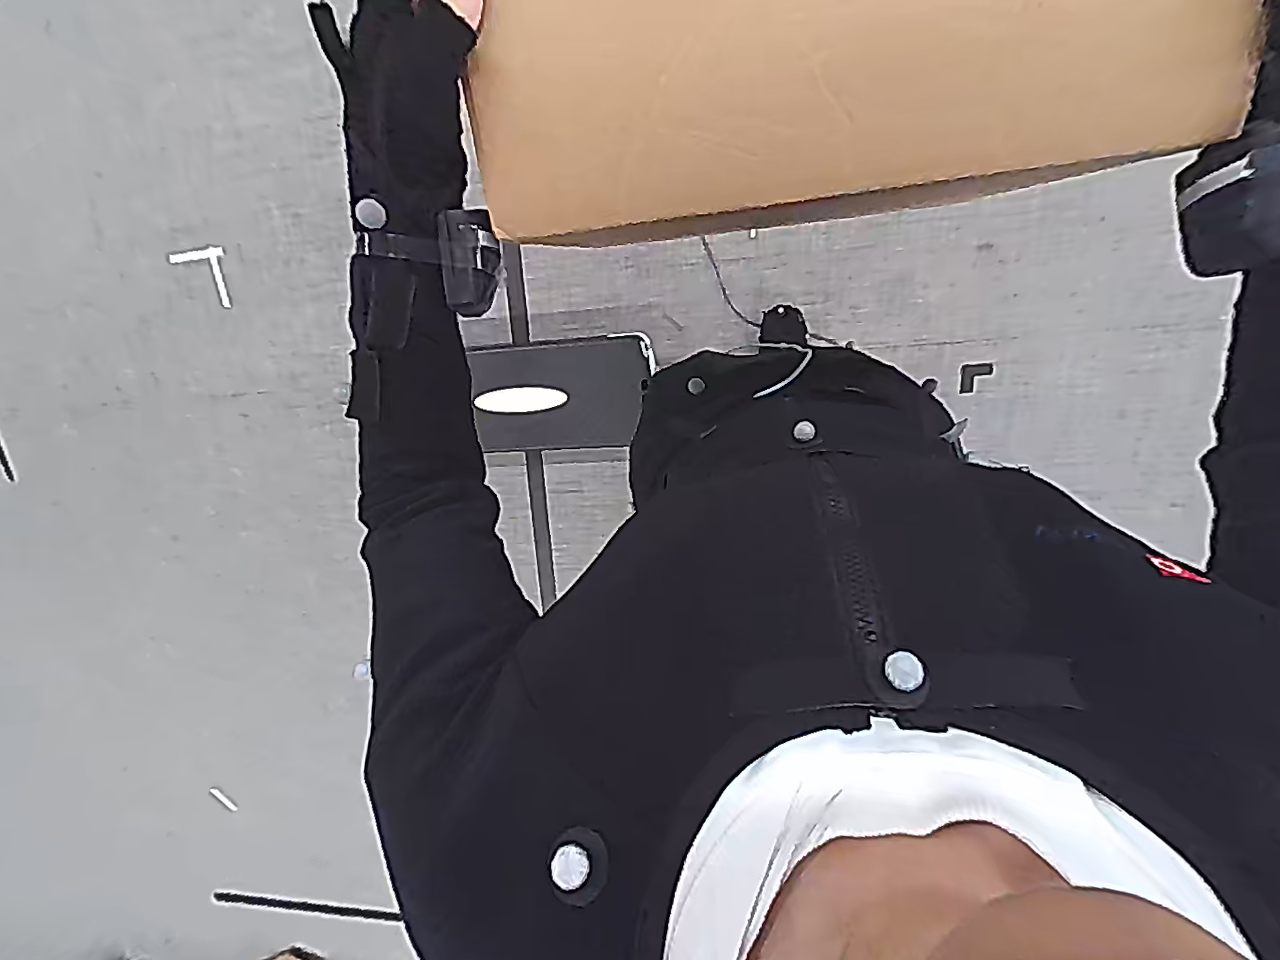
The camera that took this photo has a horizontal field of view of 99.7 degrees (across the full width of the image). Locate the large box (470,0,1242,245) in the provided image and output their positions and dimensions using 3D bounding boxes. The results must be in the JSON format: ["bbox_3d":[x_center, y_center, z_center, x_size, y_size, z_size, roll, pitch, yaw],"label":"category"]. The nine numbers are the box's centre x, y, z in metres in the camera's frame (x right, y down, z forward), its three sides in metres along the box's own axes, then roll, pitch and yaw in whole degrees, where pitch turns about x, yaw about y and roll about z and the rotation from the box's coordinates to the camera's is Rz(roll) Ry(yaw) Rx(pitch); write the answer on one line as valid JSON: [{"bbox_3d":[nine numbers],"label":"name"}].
[{"bbox_3d":[0.107,-0.373,0.402,0.408,0.320,0.320,-5,112,8],"label":"large box"}]
